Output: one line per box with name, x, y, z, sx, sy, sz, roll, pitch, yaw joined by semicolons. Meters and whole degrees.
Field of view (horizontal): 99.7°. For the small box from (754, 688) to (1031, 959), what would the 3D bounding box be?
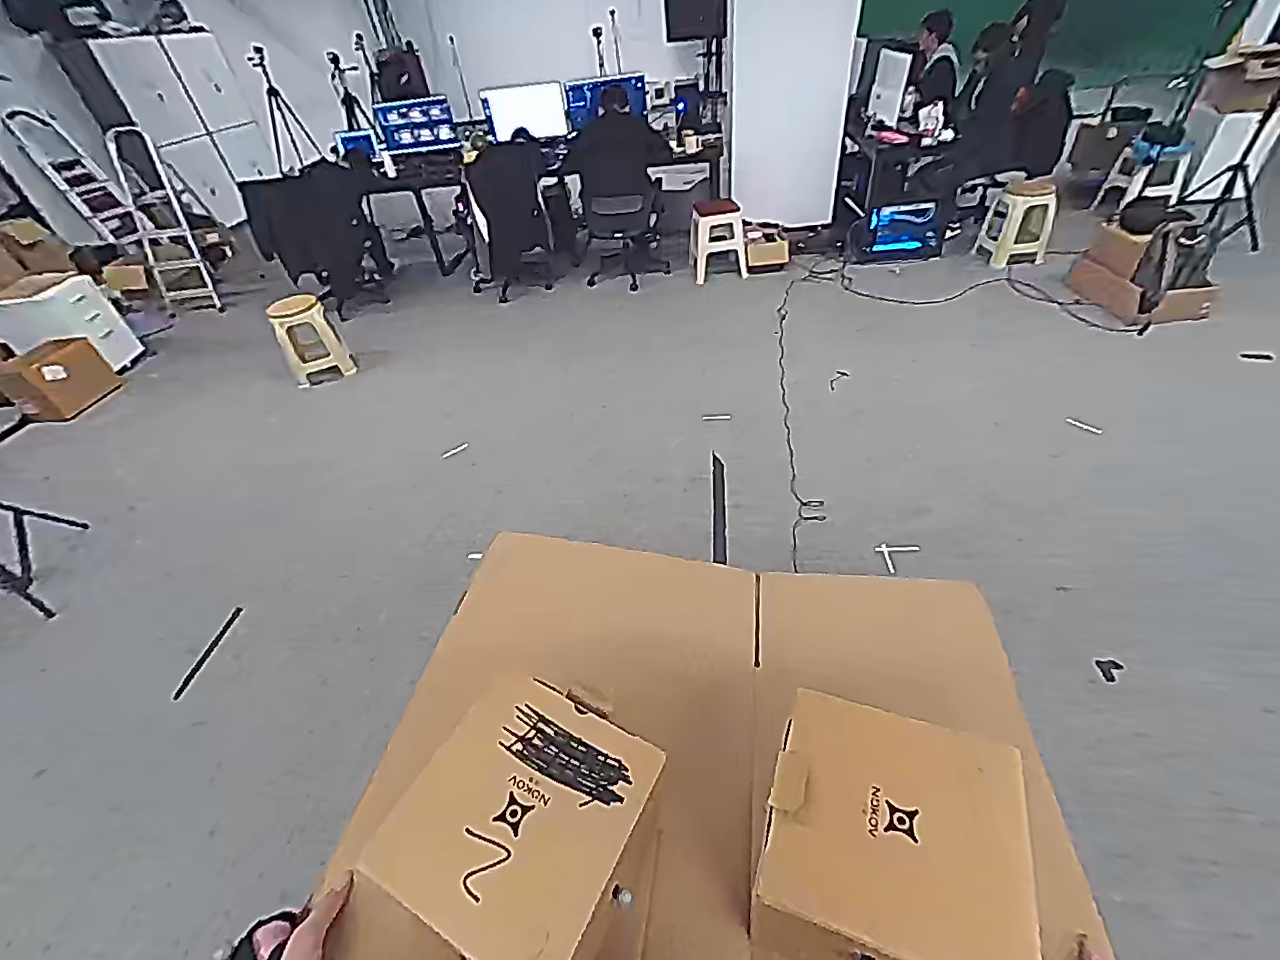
small box;0.204;0.316;0.466;0.179;0.176;0.168;8;44;22
